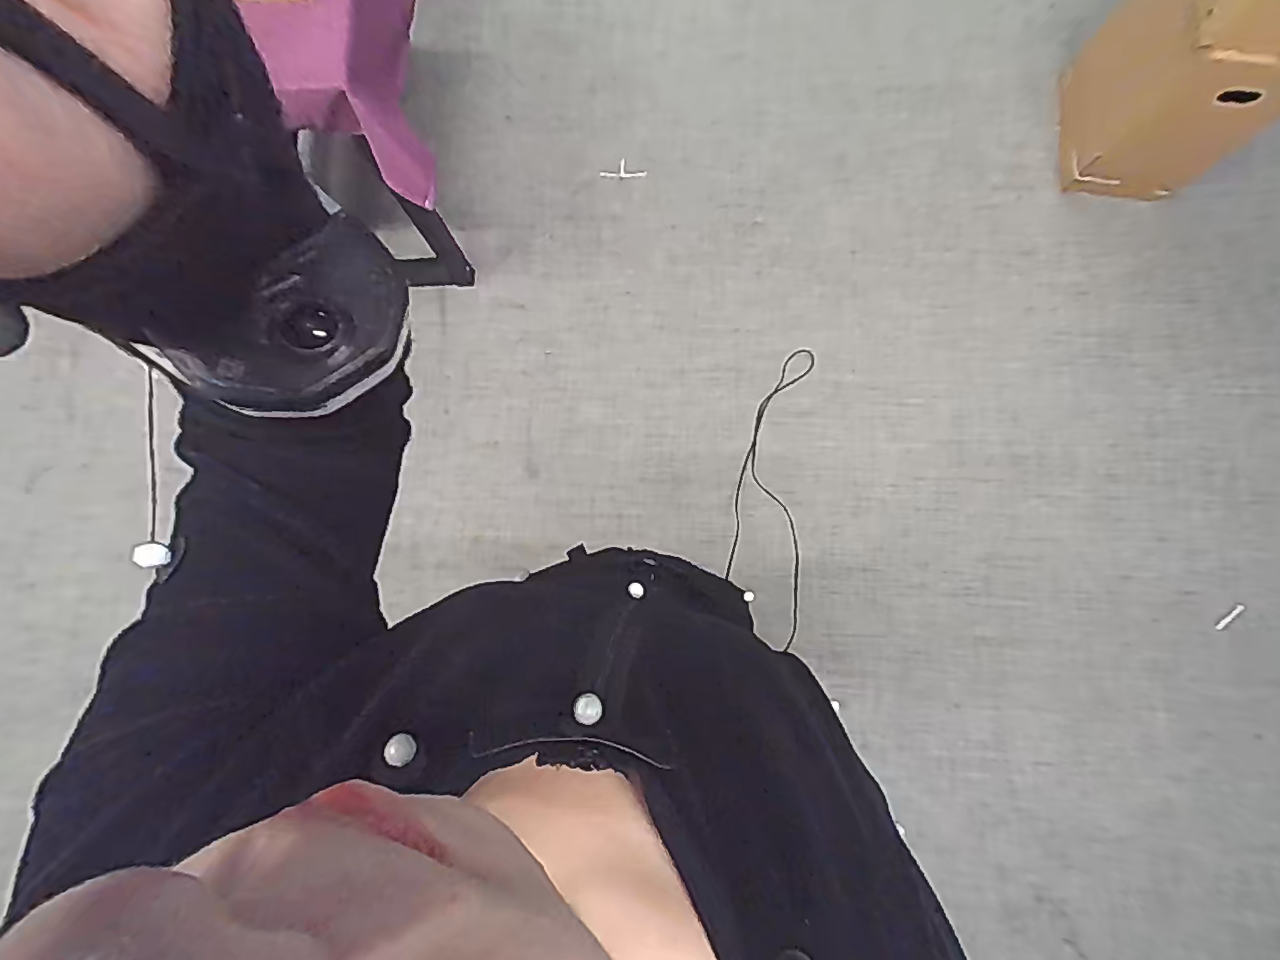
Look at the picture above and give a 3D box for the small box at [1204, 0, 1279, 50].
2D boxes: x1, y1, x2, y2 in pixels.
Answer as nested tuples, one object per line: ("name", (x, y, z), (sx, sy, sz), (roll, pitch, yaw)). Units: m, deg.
("small box", (1.349, -1.046, 1.126), (0.179, 0.176, 0.168), (9, 81, 1))
